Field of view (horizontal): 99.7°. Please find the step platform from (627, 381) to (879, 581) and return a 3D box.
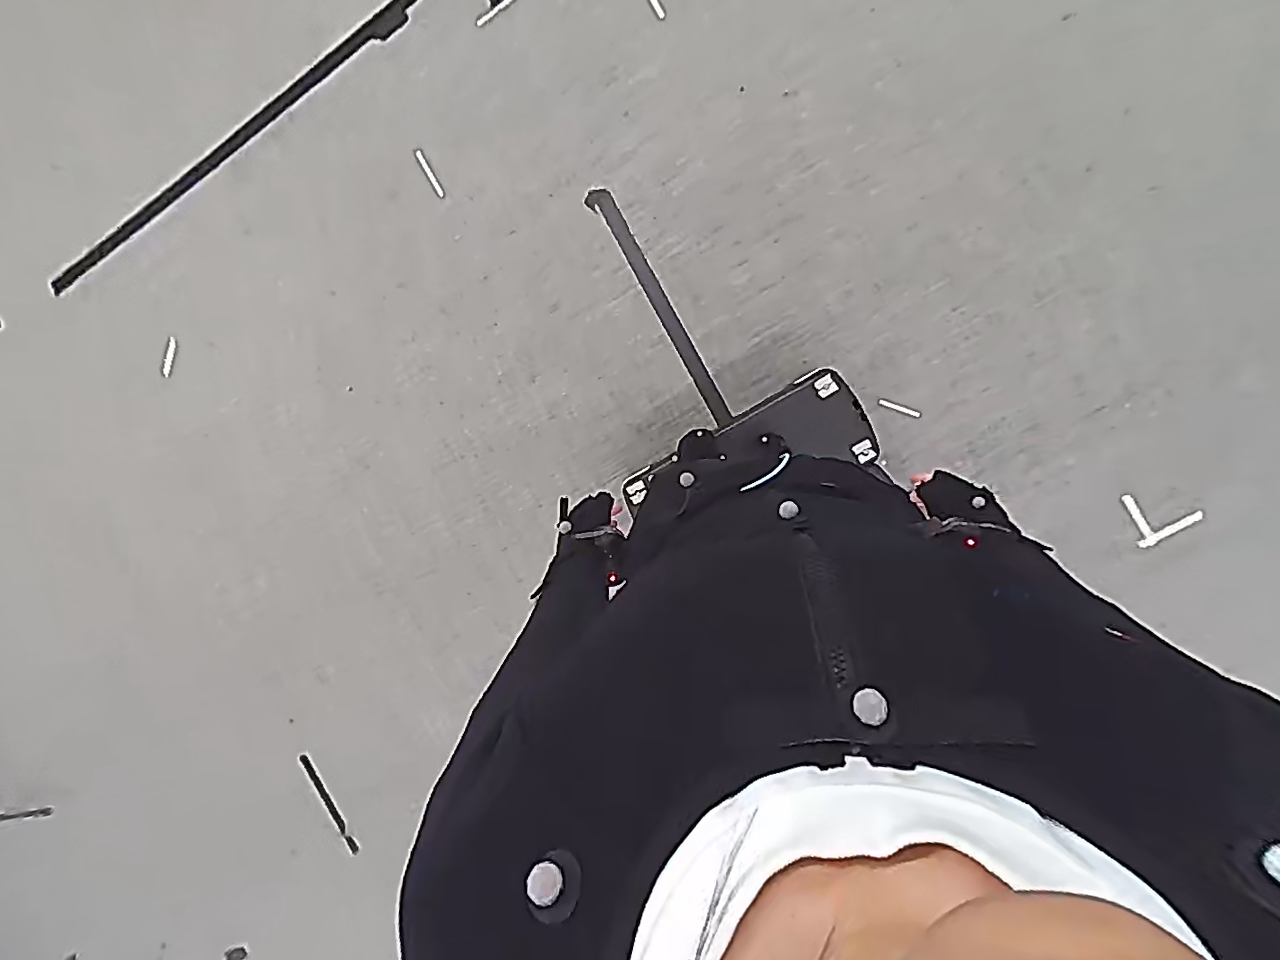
[{"bbox_3d":[0.302,0.005,1.526,0.684,0.204,0.286,-31,92,8],"label":"step platform"}]
